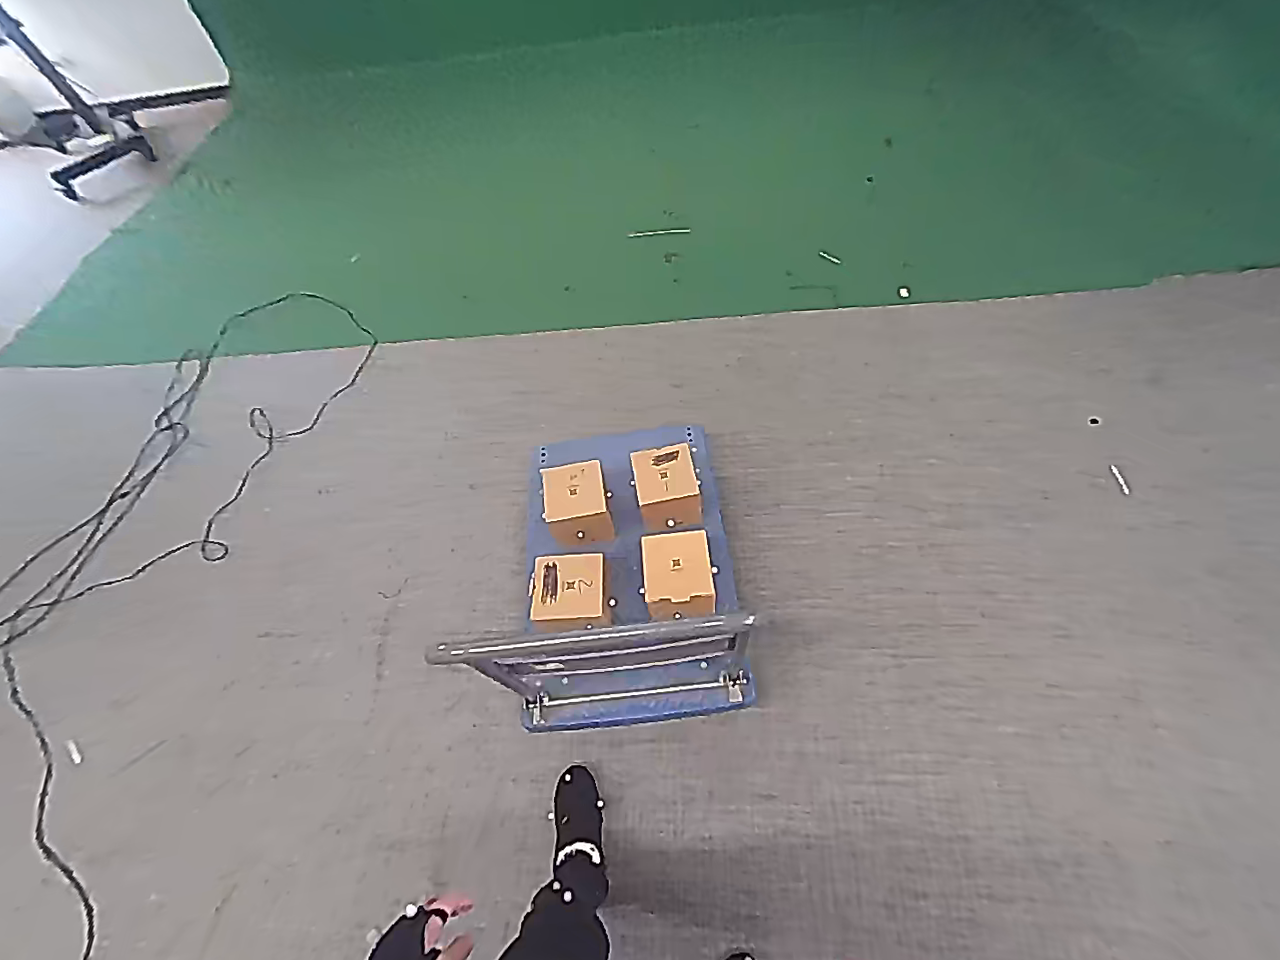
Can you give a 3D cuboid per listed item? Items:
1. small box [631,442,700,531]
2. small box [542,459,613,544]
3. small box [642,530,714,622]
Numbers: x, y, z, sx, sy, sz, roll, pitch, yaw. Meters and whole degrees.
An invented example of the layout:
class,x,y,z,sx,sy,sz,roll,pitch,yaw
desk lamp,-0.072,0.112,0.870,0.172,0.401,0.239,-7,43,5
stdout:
class,x,y,z,sx,sy,sz,roll,pitch,yaw
small box,0.073,0.021,1.532,0.168,0.176,0.179,-11,58,1
small box,-0.174,0.069,1.534,0.168,0.176,0.179,-10,57,0
small box,0.096,0.248,1.386,0.168,0.176,0.179,-6,58,3
